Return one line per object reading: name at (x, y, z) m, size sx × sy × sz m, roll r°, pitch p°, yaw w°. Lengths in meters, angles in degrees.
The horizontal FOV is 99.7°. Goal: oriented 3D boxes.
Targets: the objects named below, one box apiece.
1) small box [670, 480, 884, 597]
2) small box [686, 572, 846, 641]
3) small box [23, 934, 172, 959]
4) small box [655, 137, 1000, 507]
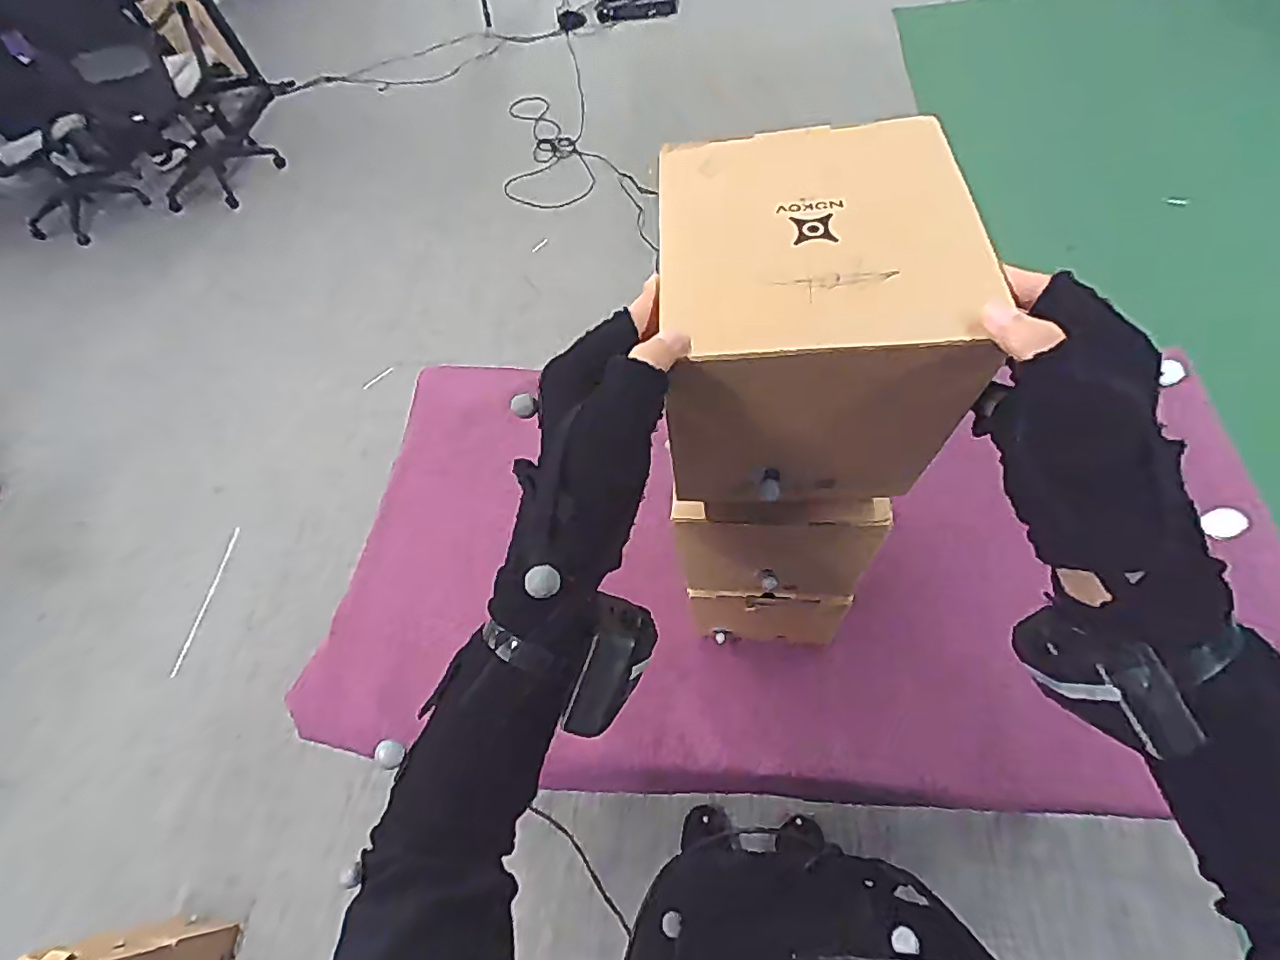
small box at (0.124, 0.000, 0.528) m, size 0.168 × 0.176 × 0.179 m, roll 0°, pitch 60°, yaw 11°
small box at (0.150, 0.090, 0.663) m, size 0.168 × 0.176 × 0.179 m, roll 1°, pitch 59°, yaw 11°
small box at (-1.043, 0.984, 1.009) m, size 0.168 × 0.176 × 0.179 m, roll -2°, pitch 59°, yaw 9°
small box at (0.099, -0.095, 0.370) m, size 0.168 × 0.176 × 0.179 m, roll -2°, pitch 62°, yaw 7°
